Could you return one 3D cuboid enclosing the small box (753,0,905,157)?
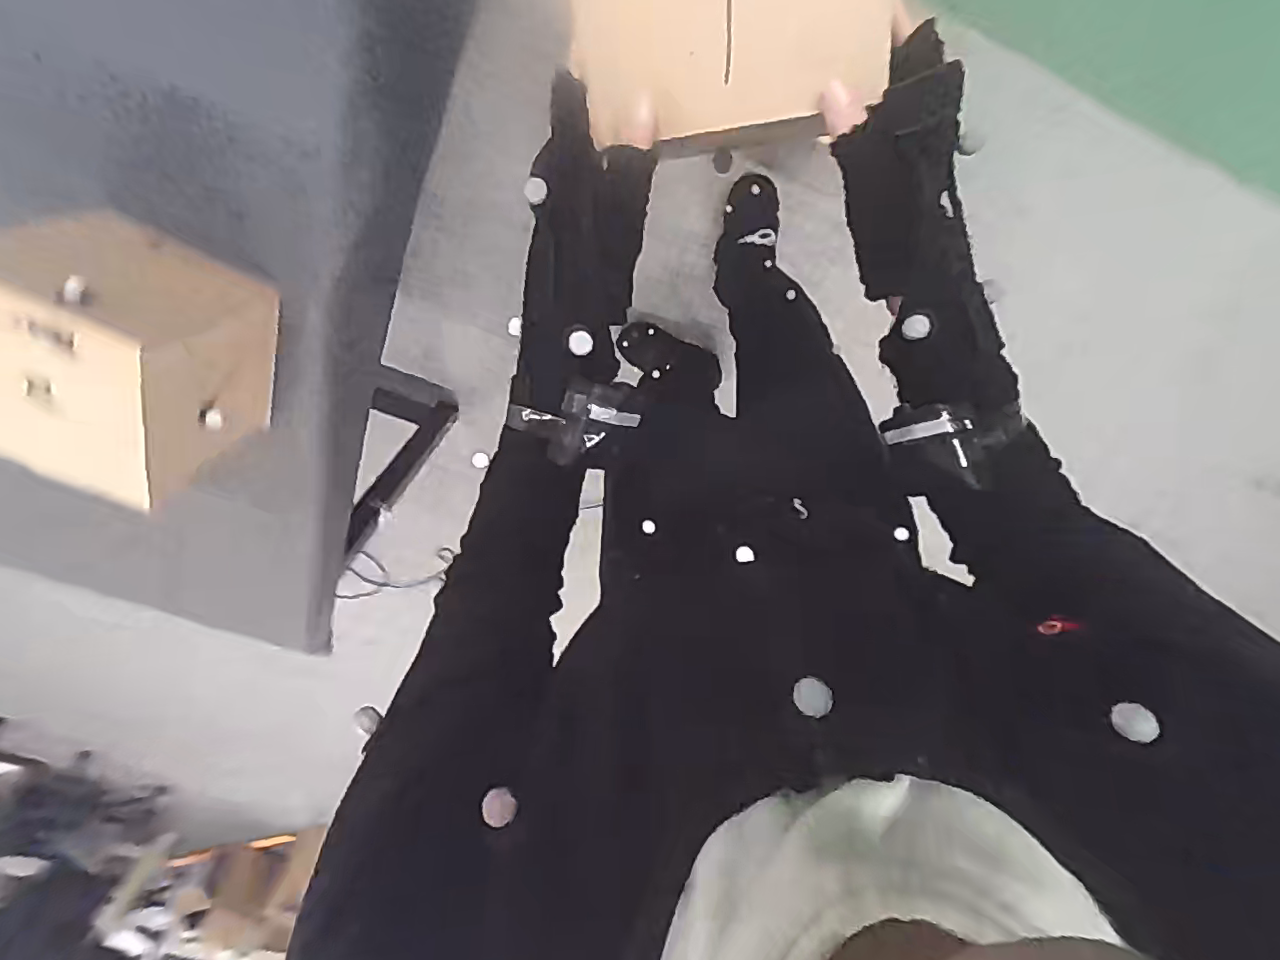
[{"bbox_3d":[0.306,-0.691,0.925,0.168,0.176,0.179,26,124,-11],"label":"small box"}]
